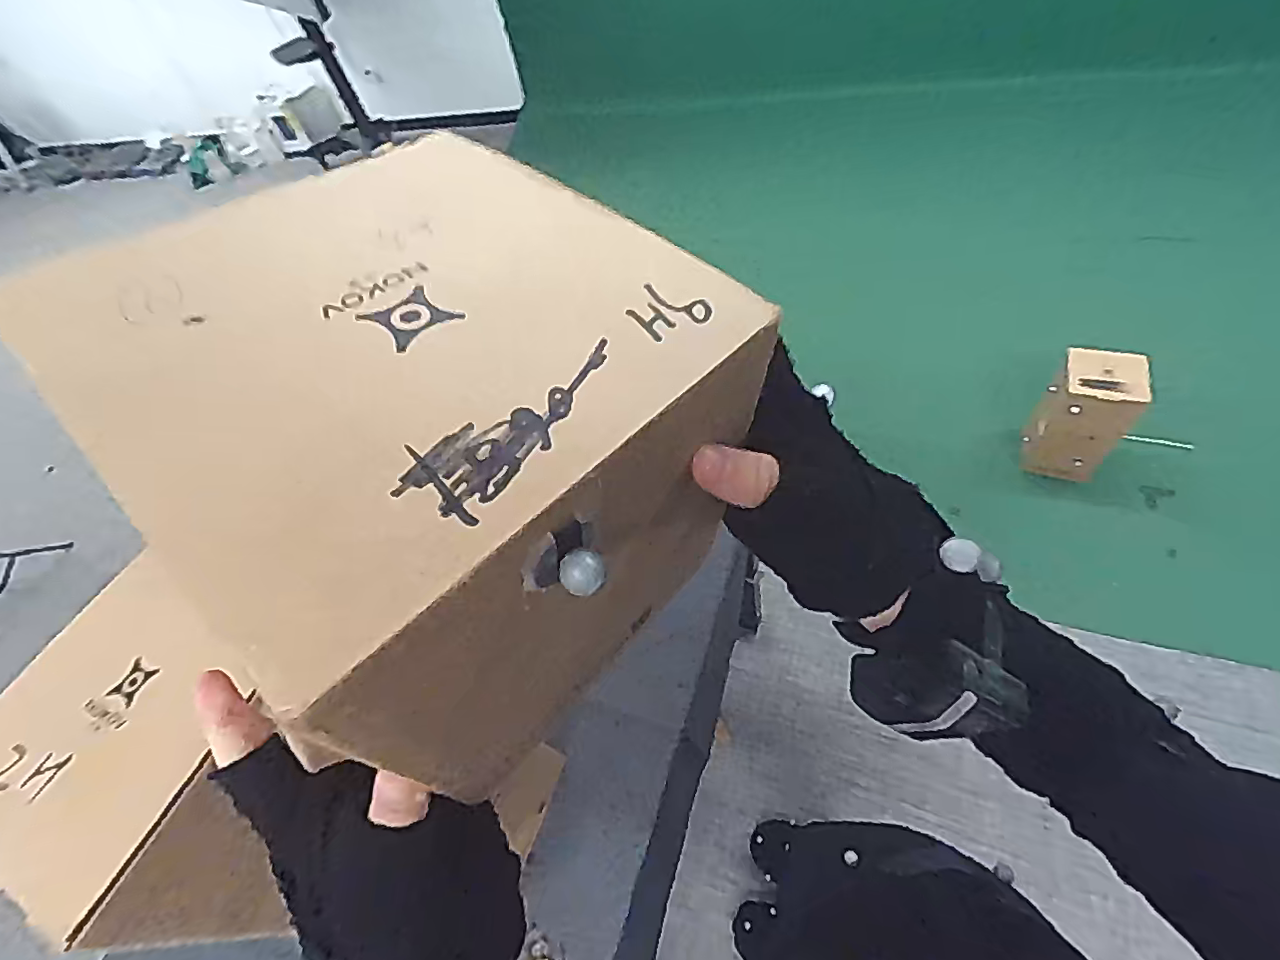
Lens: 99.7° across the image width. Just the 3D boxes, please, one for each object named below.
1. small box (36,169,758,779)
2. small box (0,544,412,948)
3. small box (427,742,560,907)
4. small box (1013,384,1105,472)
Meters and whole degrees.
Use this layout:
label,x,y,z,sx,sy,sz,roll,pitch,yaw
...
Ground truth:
label,x,y,z,sx,sy,sz,roll,pitch,yaw
small box,-0.079,0.000,0.241,0.179,0.176,0.168,36,61,22
small box,-0.279,0.175,0.379,0.168,0.176,0.179,12,58,22
small box,-0.218,0.366,0.638,0.179,0.176,0.168,9,57,21
small box,1.209,-0.148,1.567,0.168,0.176,0.179,15,60,23
